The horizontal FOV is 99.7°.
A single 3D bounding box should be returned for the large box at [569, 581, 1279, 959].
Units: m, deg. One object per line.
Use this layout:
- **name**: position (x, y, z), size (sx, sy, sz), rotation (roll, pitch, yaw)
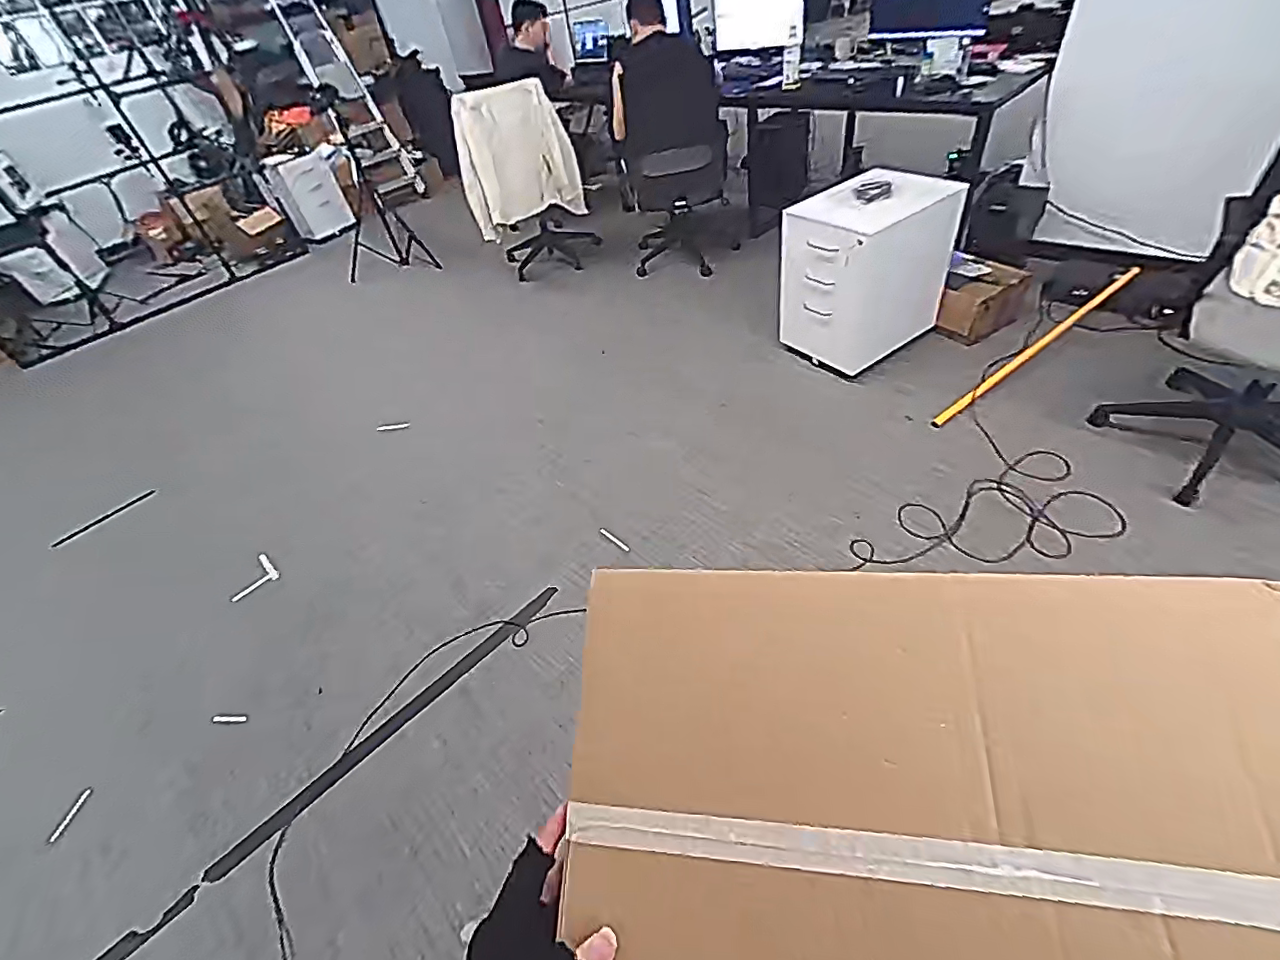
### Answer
- **large box**: position (0.185, 0.269, 0.432), size (0.408, 0.320, 0.320), rotation (-2, 67, 13)
